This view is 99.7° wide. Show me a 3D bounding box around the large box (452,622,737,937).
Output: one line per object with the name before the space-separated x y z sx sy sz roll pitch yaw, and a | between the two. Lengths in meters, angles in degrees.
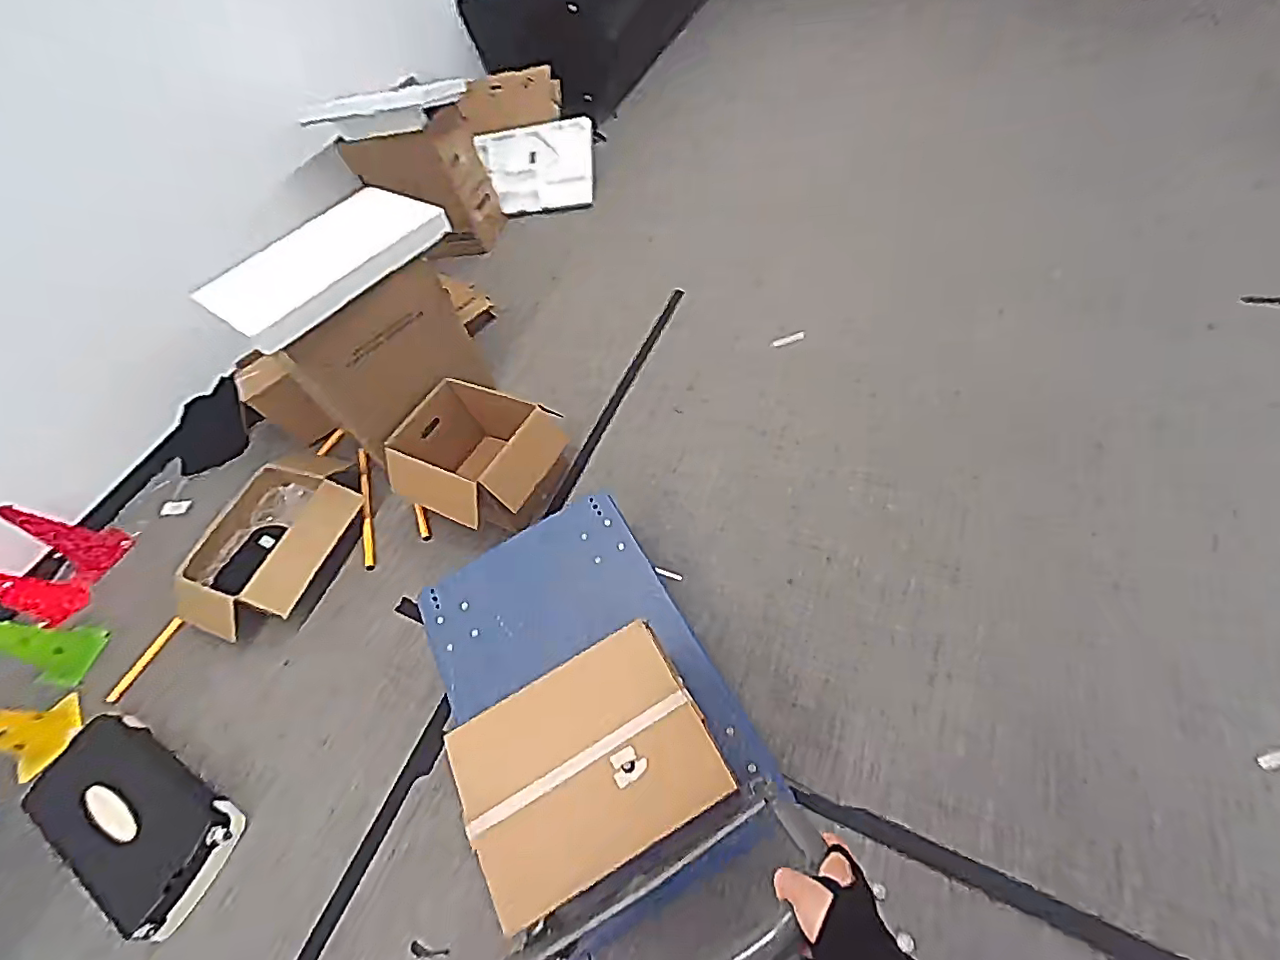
large box | -0.066 0.542 1.019 0.408 0.320 0.320 -30 60 -8
